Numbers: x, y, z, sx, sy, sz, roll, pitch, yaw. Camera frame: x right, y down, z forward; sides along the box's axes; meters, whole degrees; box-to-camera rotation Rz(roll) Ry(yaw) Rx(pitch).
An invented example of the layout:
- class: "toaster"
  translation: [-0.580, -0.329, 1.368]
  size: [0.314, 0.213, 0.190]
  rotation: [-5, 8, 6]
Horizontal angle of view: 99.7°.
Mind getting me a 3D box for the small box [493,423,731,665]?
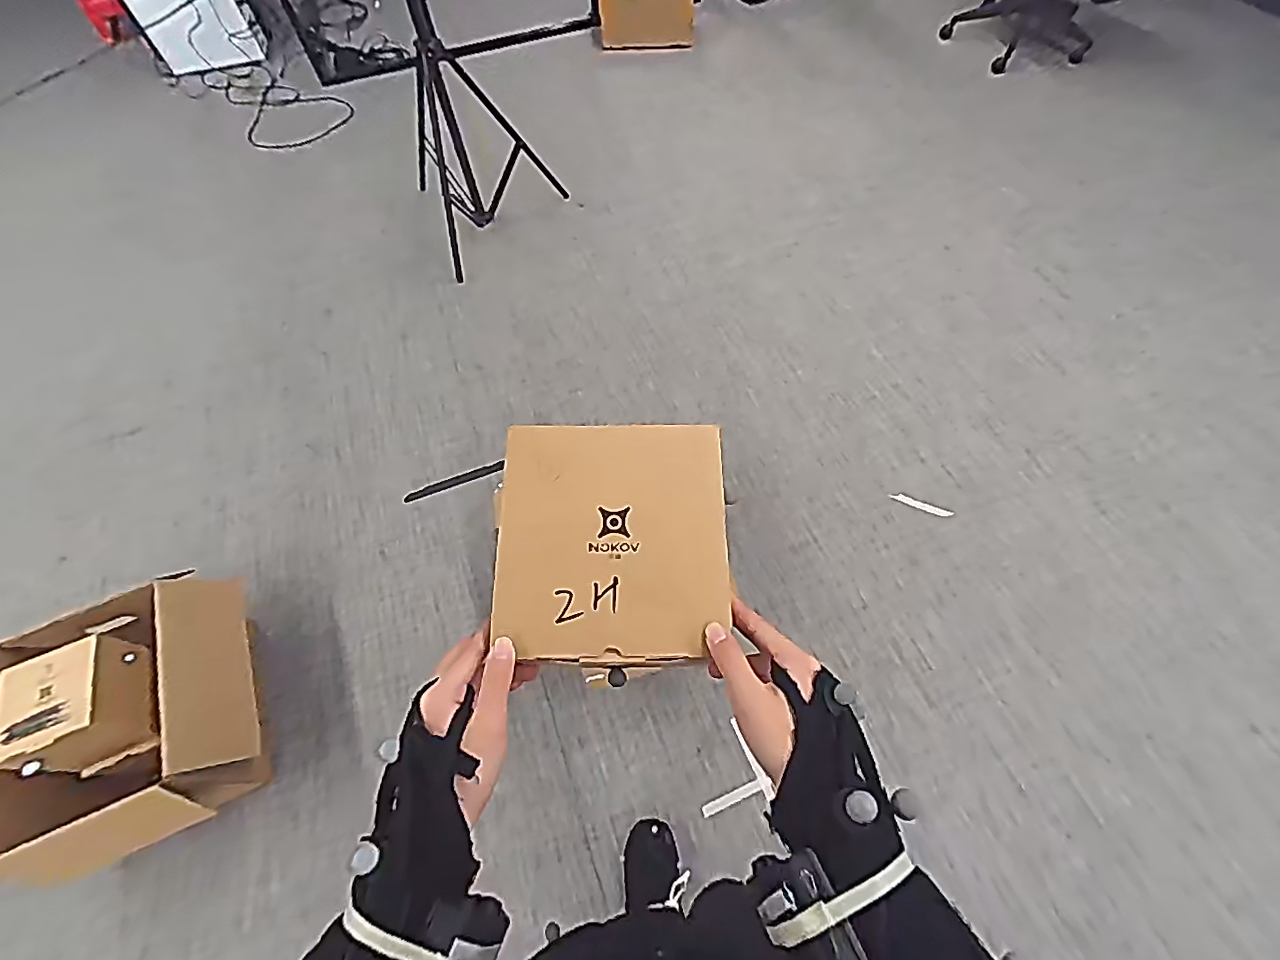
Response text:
- class: "small box"
  translation: [-0.019, 0.065, 0.471]
  size: [0.168, 0.176, 0.179]
  rotation: [0, 69, 0]
